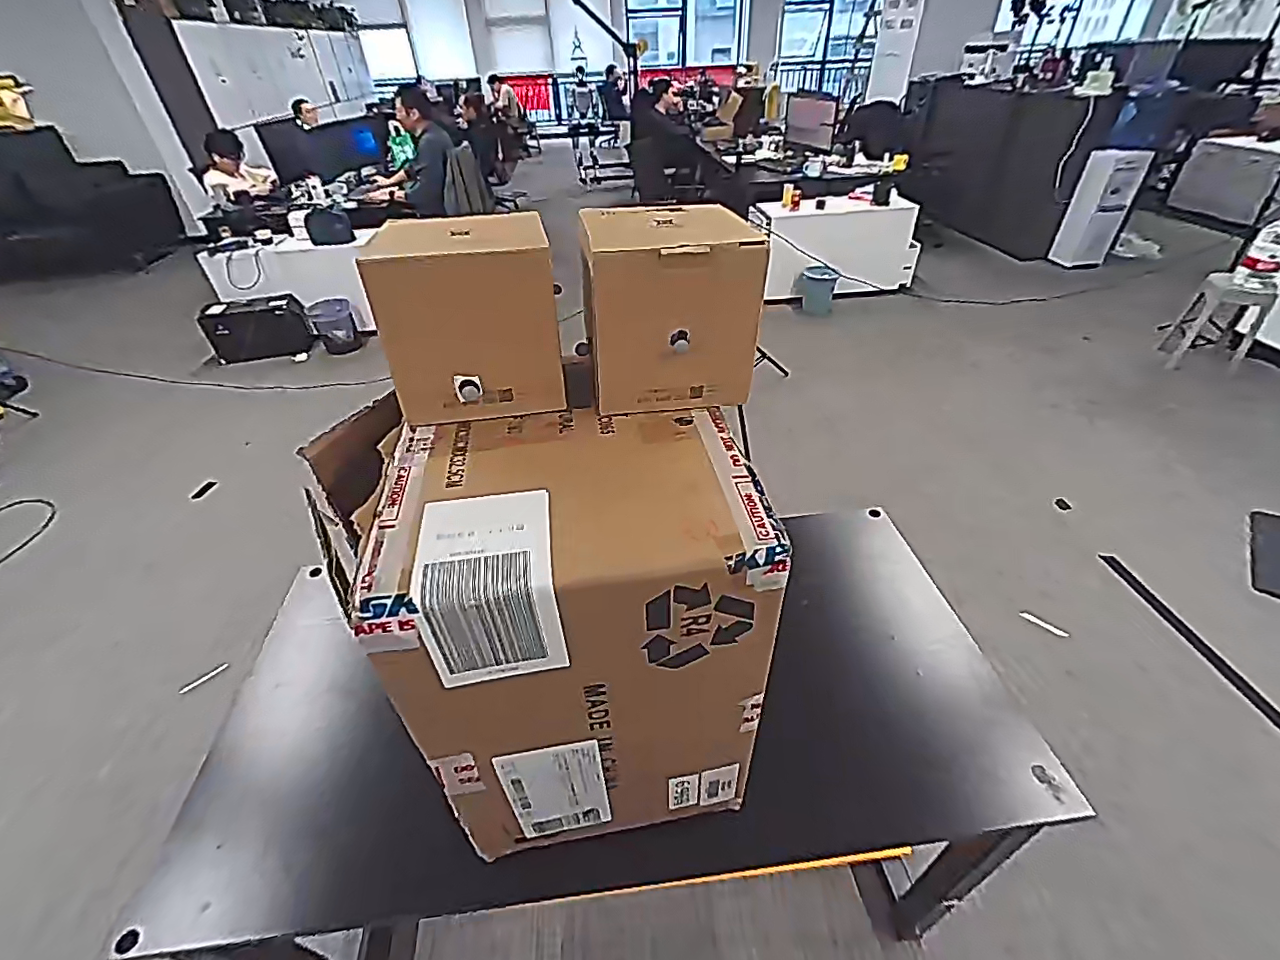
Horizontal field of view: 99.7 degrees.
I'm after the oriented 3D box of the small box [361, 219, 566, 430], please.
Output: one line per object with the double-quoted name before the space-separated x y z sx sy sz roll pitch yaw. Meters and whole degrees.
"small box" -0.177 -0.173 0.589 0.168 0.176 0.179 -10 37 -9
